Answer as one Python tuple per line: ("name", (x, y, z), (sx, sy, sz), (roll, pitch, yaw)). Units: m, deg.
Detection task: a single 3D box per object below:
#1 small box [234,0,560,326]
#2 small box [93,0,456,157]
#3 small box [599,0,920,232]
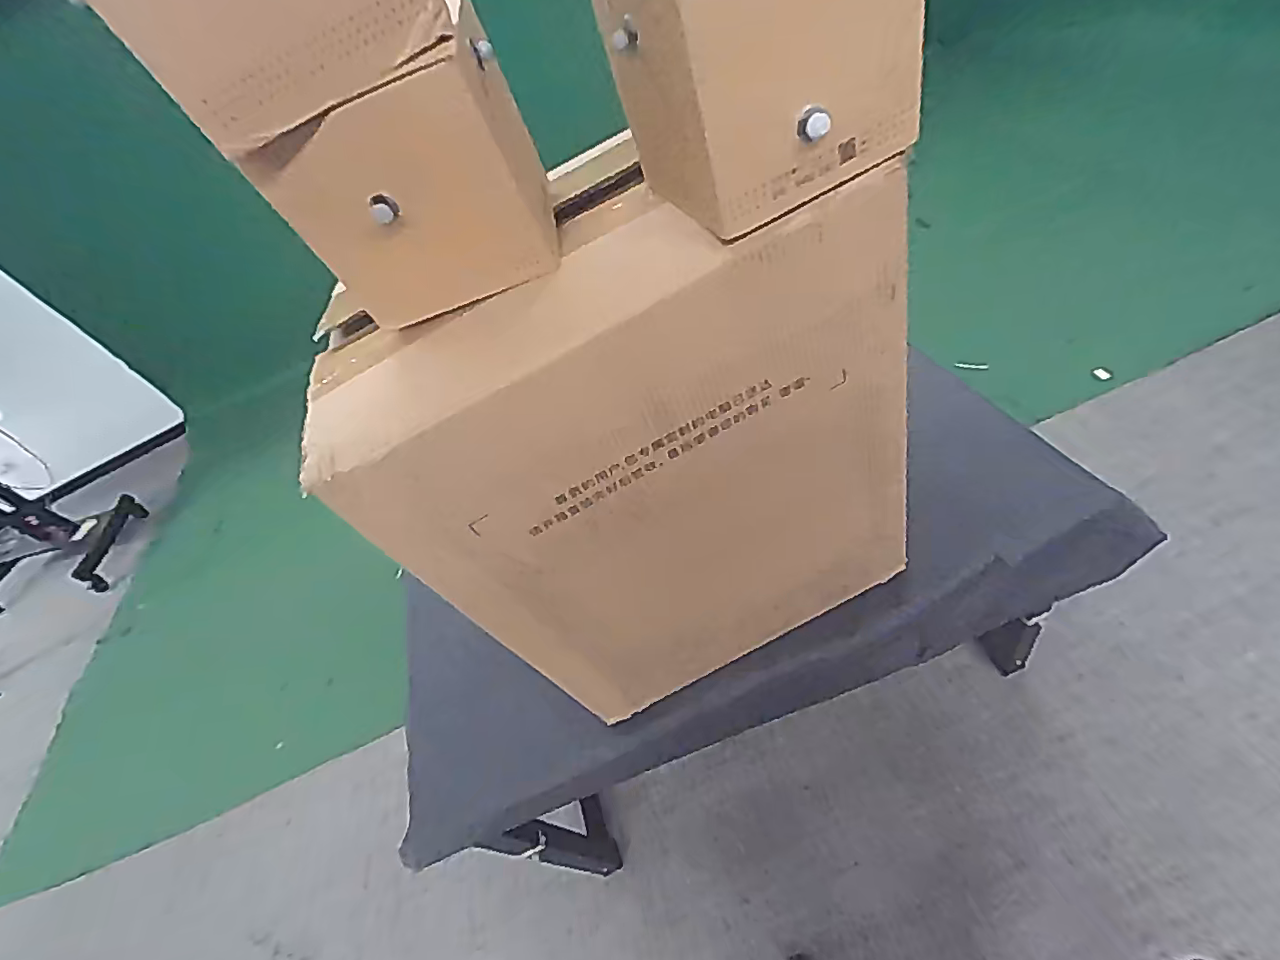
("small box", (-0.187, -0.264, 0.468), (0.179, 0.176, 0.168), (-17, 55, 10))
("small box", (-0.250, -0.343, 0.340), (0.179, 0.176, 0.168), (-31, 54, -3))
("small box", (0.082, -0.317, 0.406), (0.168, 0.176, 0.179), (-28, 46, 0))
